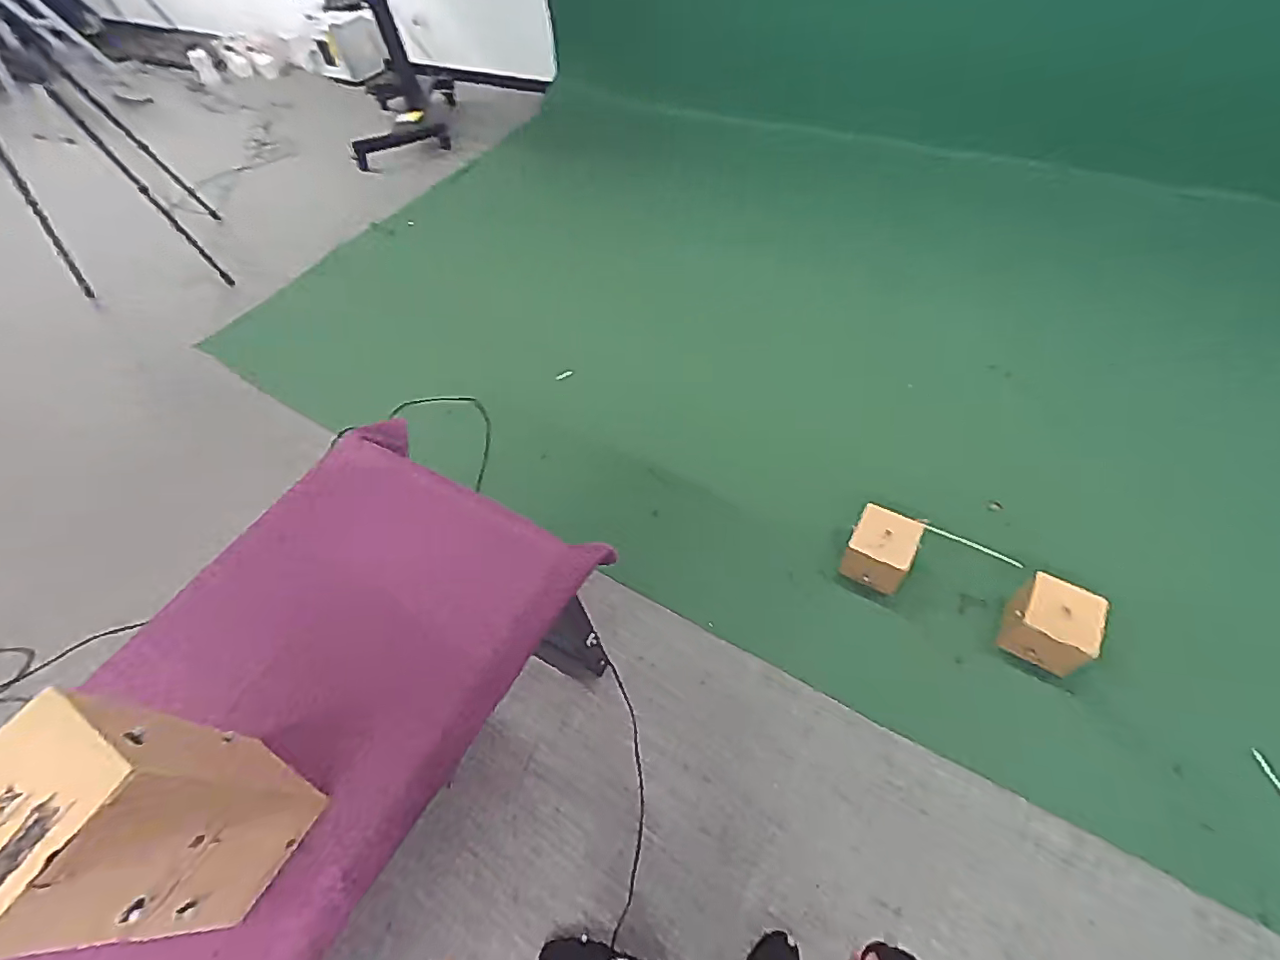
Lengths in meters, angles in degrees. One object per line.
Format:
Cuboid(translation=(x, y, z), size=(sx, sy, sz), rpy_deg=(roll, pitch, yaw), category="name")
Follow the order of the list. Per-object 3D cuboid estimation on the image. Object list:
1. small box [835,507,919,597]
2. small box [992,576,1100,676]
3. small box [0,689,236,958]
Cuboid(translation=(0.707, 0.220, 1.631), size=(0.168, 0.176, 0.179), rpy_deg=(25, 61, 22), category="small box")
Cuboid(translation=(1.095, 0.400, 1.468), size=(0.168, 0.176, 0.179), rpy_deg=(26, 62, 21), category="small box")
Cuboid(translation=(-0.591, 0.355, 0.573), size=(0.179, 0.176, 0.168), rpy_deg=(22, 60, 21), category="small box")
